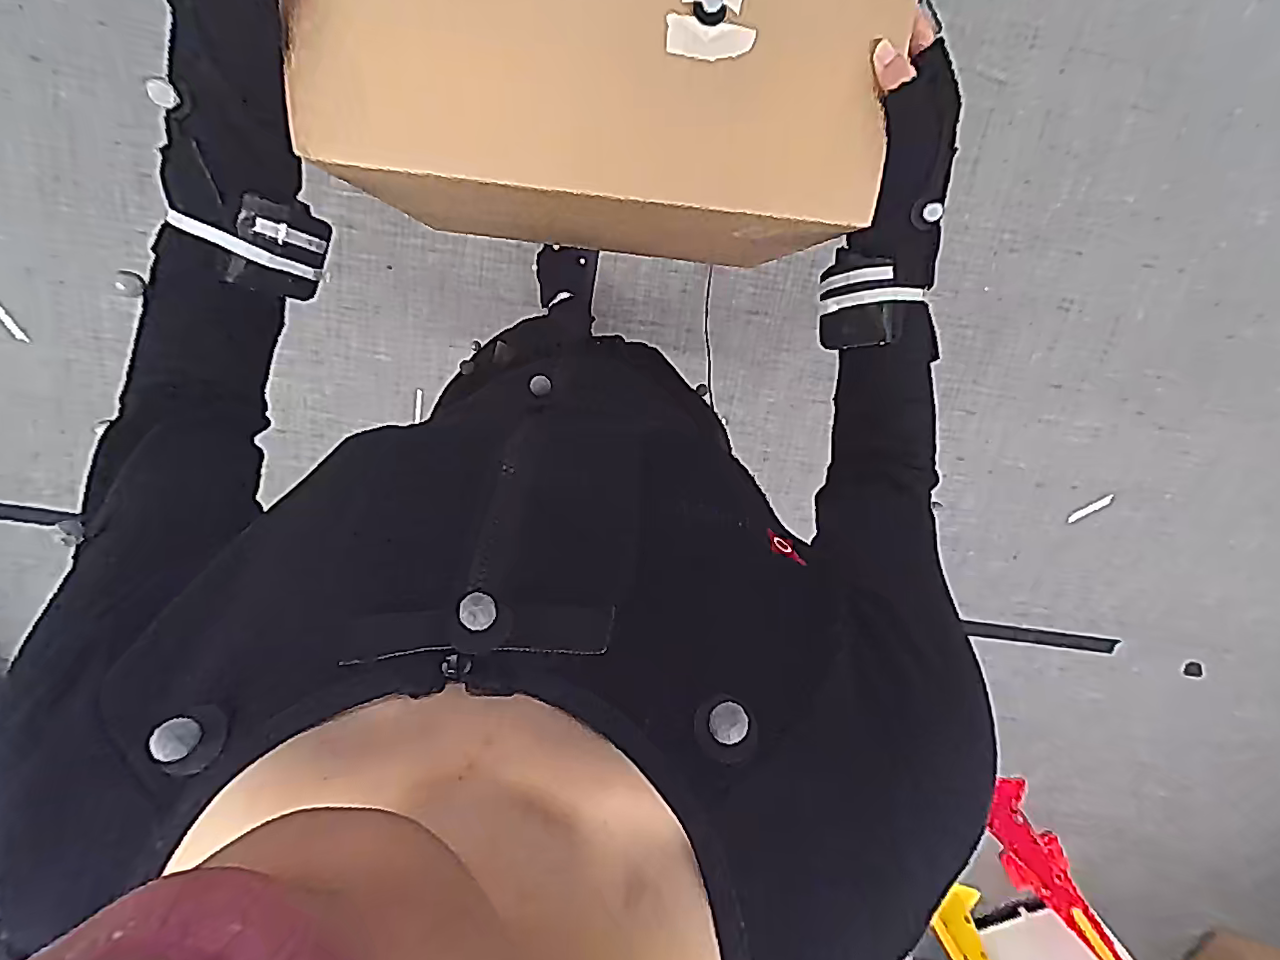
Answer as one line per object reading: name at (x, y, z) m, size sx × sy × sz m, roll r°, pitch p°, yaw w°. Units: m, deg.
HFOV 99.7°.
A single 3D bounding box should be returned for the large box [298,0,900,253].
large box at (-0.028, -0.405, 0.488) m, size 0.408 × 0.320 × 0.320 m, roll 4°, pitch 106°, yaw -6°
